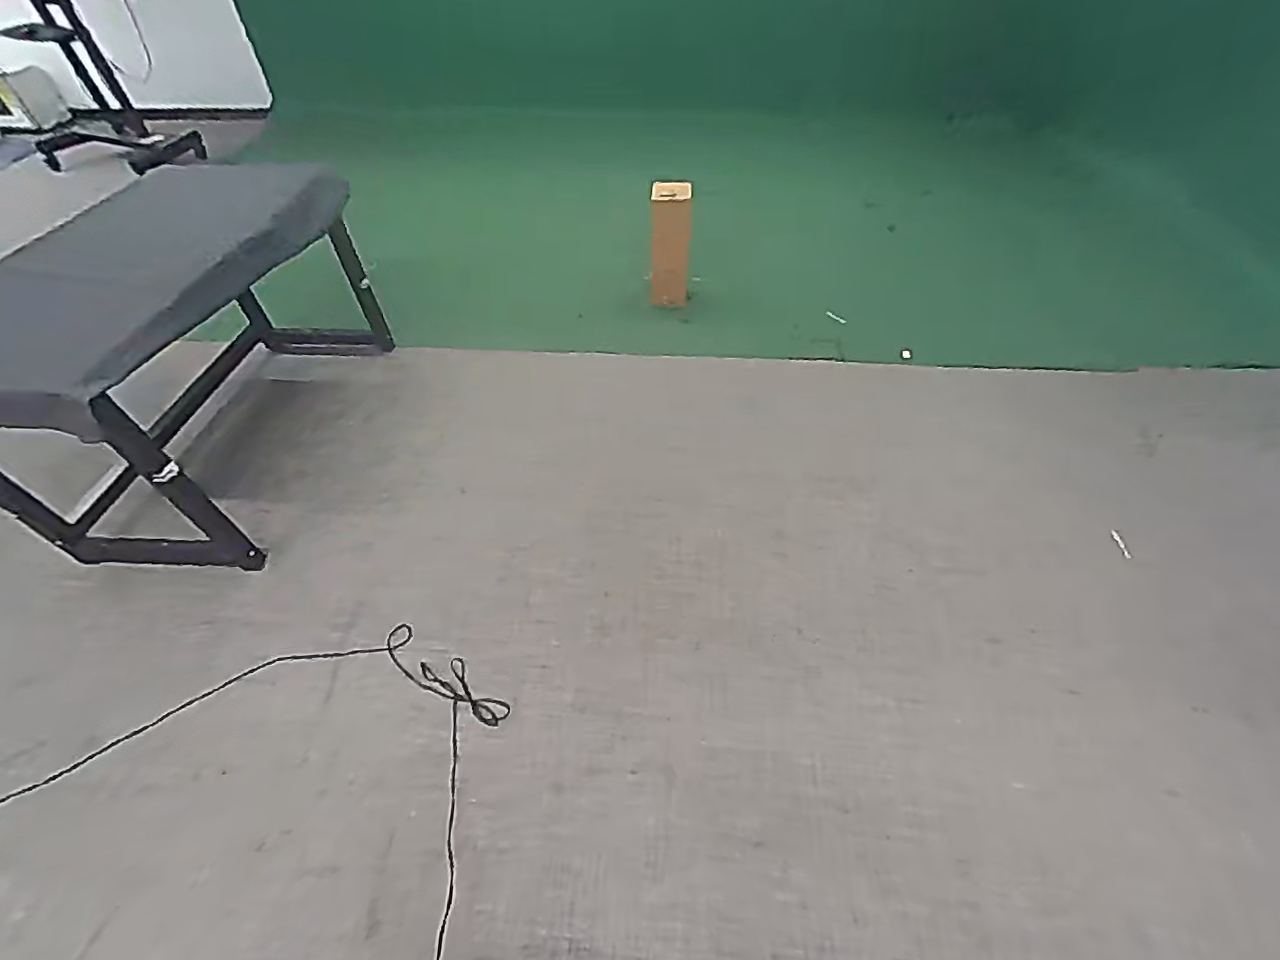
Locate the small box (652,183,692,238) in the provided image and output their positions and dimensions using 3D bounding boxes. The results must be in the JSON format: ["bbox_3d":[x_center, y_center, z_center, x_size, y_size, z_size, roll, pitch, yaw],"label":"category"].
[{"bbox_3d":[0.138,-1.164,2.340,0.168,0.176,0.179,2,48,3],"label":"small box"}]

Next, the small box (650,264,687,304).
[{"bbox_3d":[0.138,-0.958,2.572,0.168,0.176,0.179,3,49,6],"label":"small box"}]

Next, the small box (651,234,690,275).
[{"bbox_3d":[0.140,-1.054,2.463,0.168,0.176,0.179,3,48,5],"label":"small box"}]
